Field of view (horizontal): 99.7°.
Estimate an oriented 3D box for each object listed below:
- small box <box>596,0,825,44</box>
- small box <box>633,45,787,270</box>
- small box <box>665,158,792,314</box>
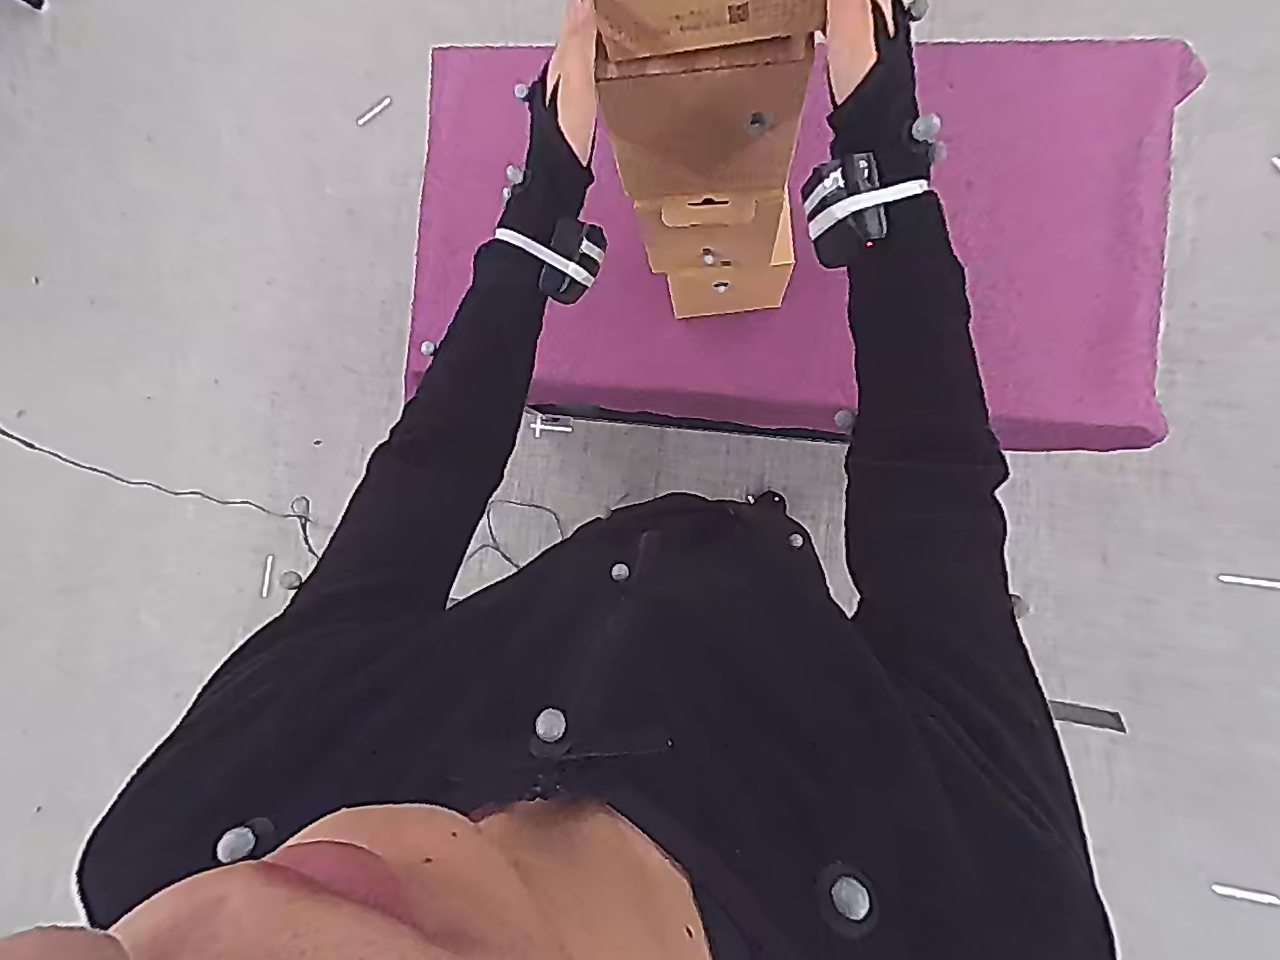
[{"bbox_3d":[0.040,-0.420,0.339,0.168,0.176,0.179,1,86,14],"label":"small box"},{"bbox_3d":[0.086,-0.383,0.671,0.168,0.176,0.179,1,88,8],"label":"small box"},{"bbox_3d":[0.128,-0.367,0.830,0.179,0.176,0.168,-4,87,7],"label":"small box"}]
